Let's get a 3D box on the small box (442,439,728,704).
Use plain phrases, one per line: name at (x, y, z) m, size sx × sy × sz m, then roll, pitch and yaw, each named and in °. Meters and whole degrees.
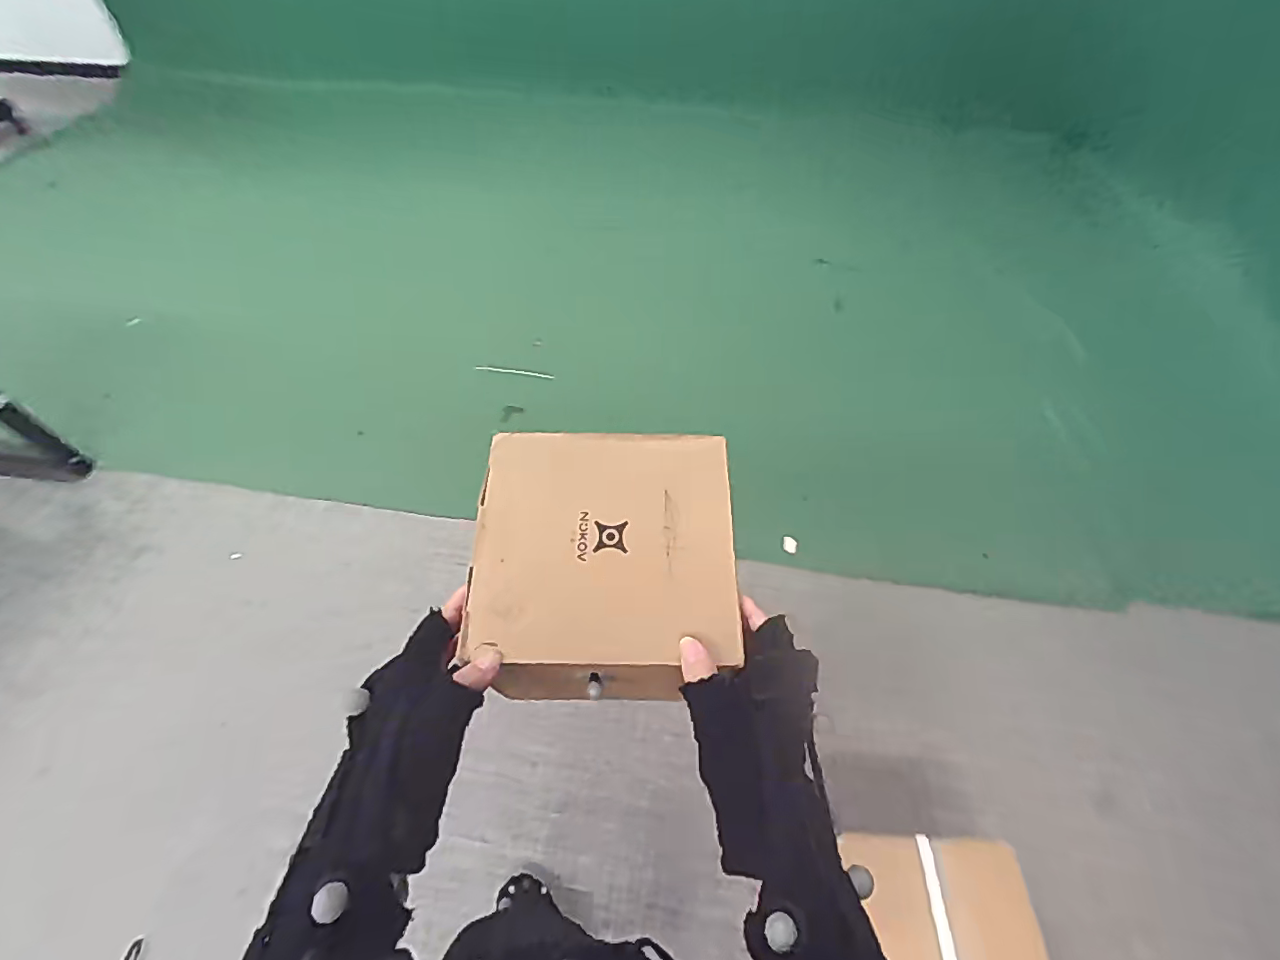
small box at (-0.035, 0.081, 0.431) m, size 0.179 × 0.176 × 0.168 m, roll 0°, pitch 61°, yaw -3°
